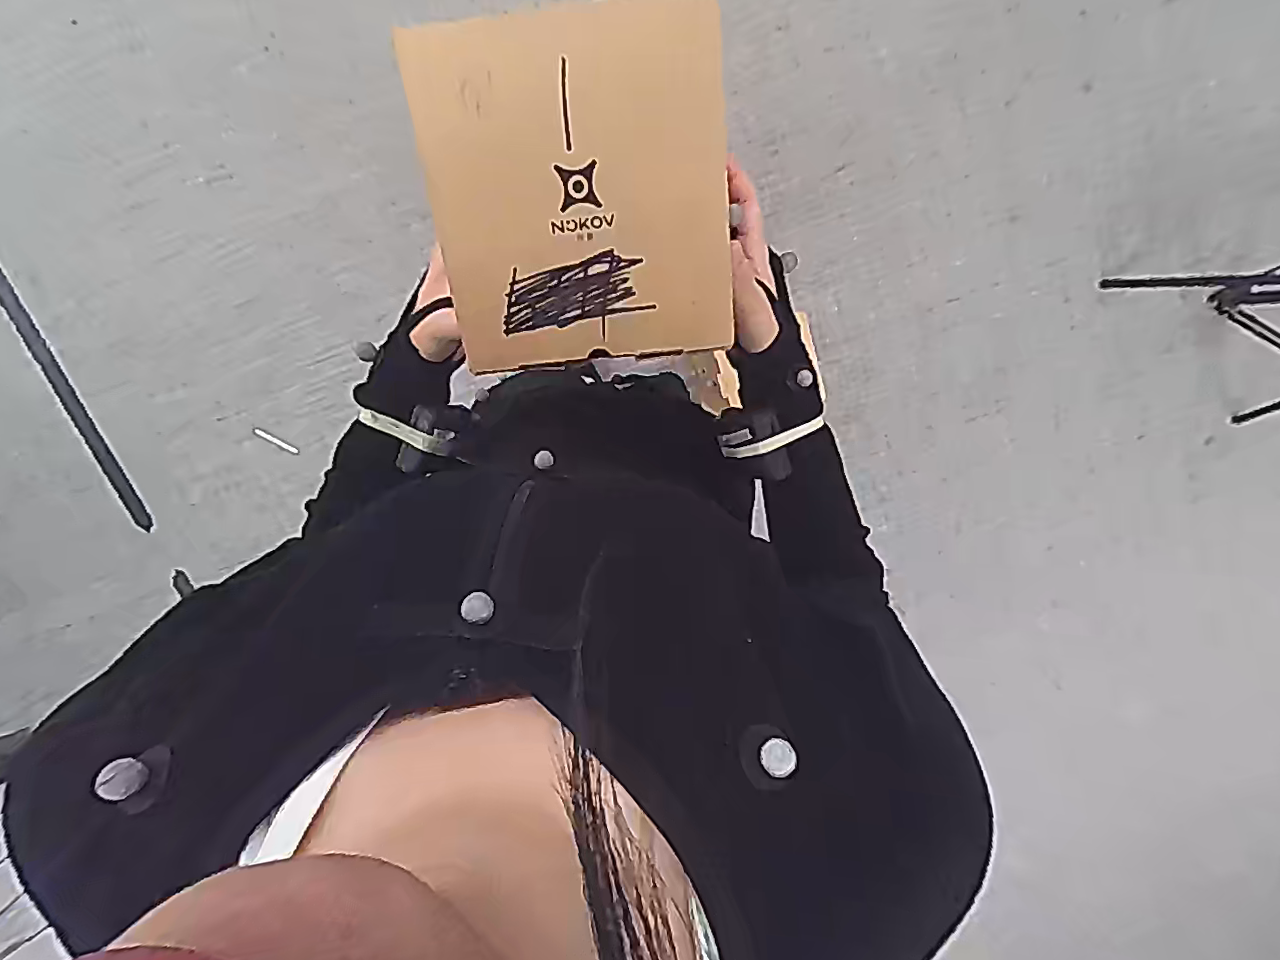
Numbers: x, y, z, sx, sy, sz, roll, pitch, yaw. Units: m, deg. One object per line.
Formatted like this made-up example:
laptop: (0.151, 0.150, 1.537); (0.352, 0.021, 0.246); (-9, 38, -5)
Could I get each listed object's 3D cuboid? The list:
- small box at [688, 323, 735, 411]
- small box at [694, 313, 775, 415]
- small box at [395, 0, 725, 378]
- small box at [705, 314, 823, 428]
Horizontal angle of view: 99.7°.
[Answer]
small box: (0.217, -0.290, 1.363); (0.168, 0.176, 0.179); (-19, 104, 3)
small box: (0.216, -0.256, 1.202); (0.168, 0.176, 0.179); (-17, 104, 3)
small box: (-0.032, -0.179, 0.371); (0.168, 0.176, 0.179); (-4, 112, 3)
small box: (0.227, -0.210, 1.045); (0.179, 0.176, 0.168); (-17, 104, 4)
